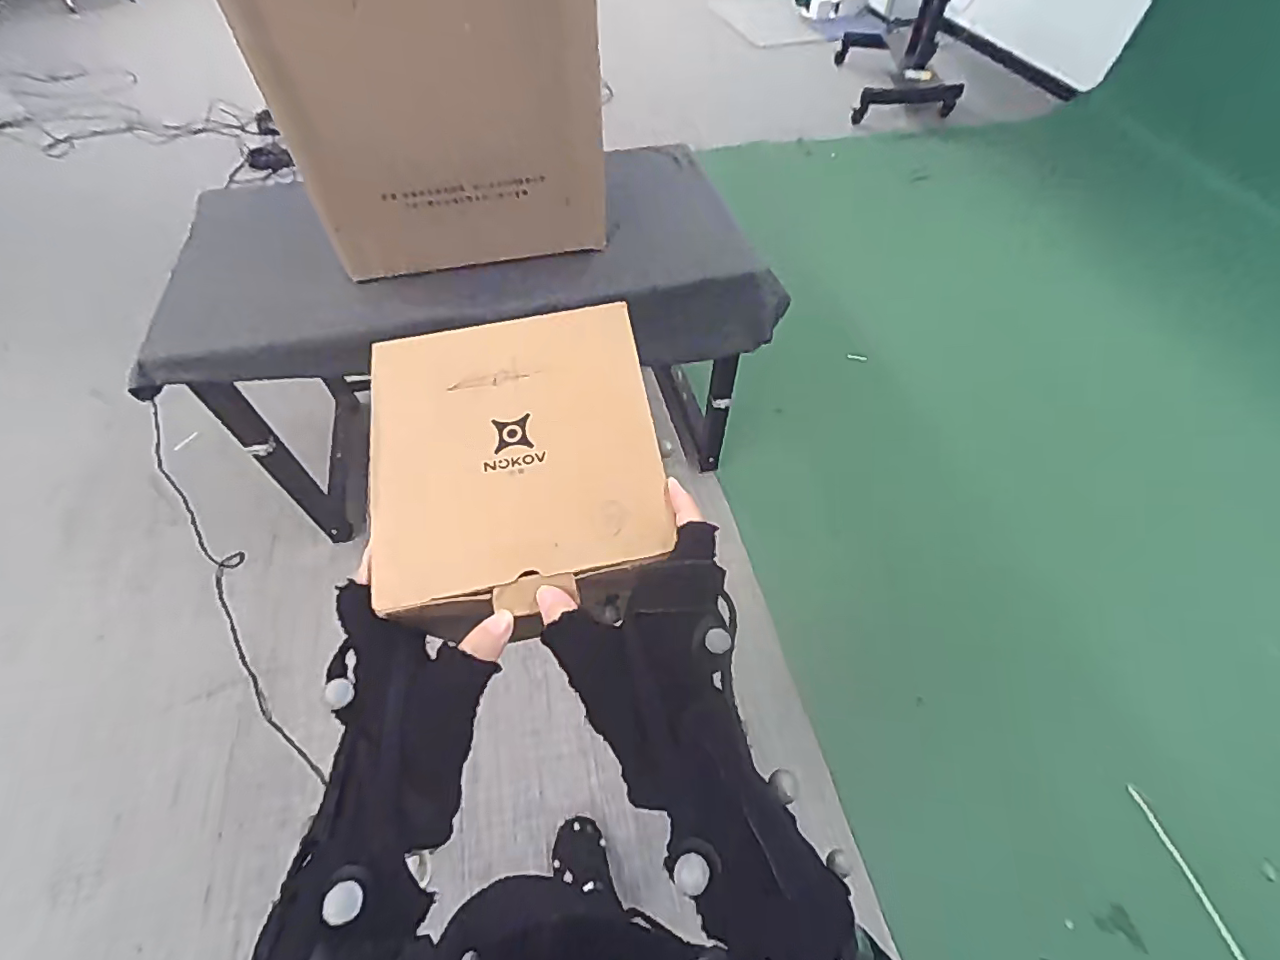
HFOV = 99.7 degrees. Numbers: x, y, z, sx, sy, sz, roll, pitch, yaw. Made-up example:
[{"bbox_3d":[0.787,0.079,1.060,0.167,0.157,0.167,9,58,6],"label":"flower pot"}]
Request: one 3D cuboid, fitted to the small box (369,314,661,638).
[{"bbox_3d":[-0.079,0.012,0.401,0.168,0.176,0.179,-11,65,-4],"label":"small box"}]
